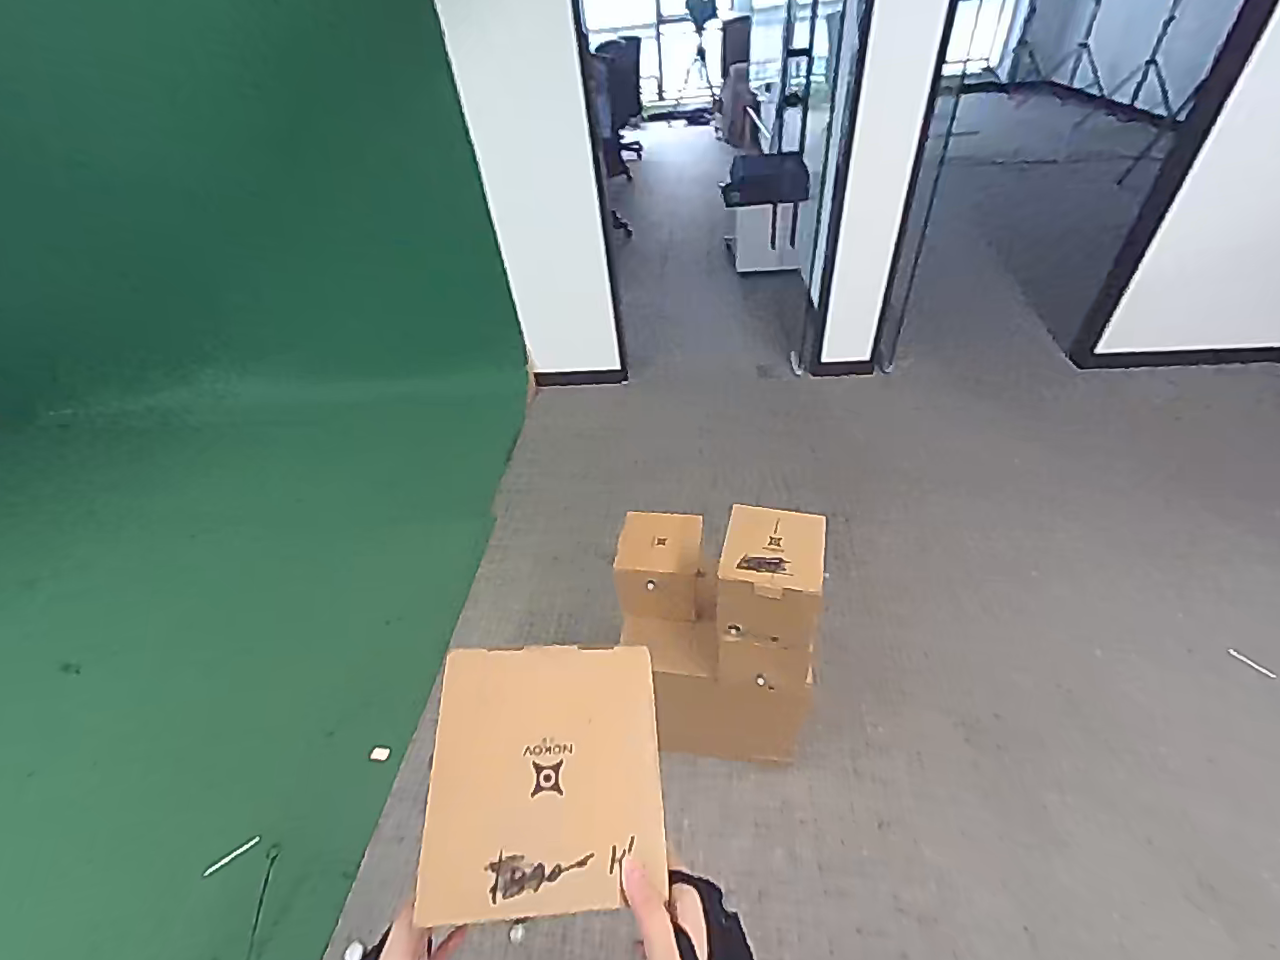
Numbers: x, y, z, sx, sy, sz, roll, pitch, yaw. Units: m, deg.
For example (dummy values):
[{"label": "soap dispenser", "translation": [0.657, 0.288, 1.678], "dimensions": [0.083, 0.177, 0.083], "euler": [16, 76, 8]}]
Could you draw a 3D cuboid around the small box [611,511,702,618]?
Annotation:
[{"label": "small box", "translation": [0.046, 0.191, 1.210], "dimensions": [0.179, 0.176, 0.168], "euler": [3, 43, 11]}]

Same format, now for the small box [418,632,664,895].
[{"label": "small box", "translation": [-0.079, 0.247, 0.470], "dimensions": [0.168, 0.176, 0.179], "euler": [2, 54, -8]}]

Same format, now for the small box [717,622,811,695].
[{"label": "small box", "translation": [0.243, 0.294, 1.073], "dimensions": [0.168, 0.176, 0.179], "euler": [4, 43, 13]}]

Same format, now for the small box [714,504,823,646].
[{"label": "small box", "translation": [0.229, 0.170, 0.966], "dimensions": [0.168, 0.176, 0.179], "euler": [7, 42, 15]}]
